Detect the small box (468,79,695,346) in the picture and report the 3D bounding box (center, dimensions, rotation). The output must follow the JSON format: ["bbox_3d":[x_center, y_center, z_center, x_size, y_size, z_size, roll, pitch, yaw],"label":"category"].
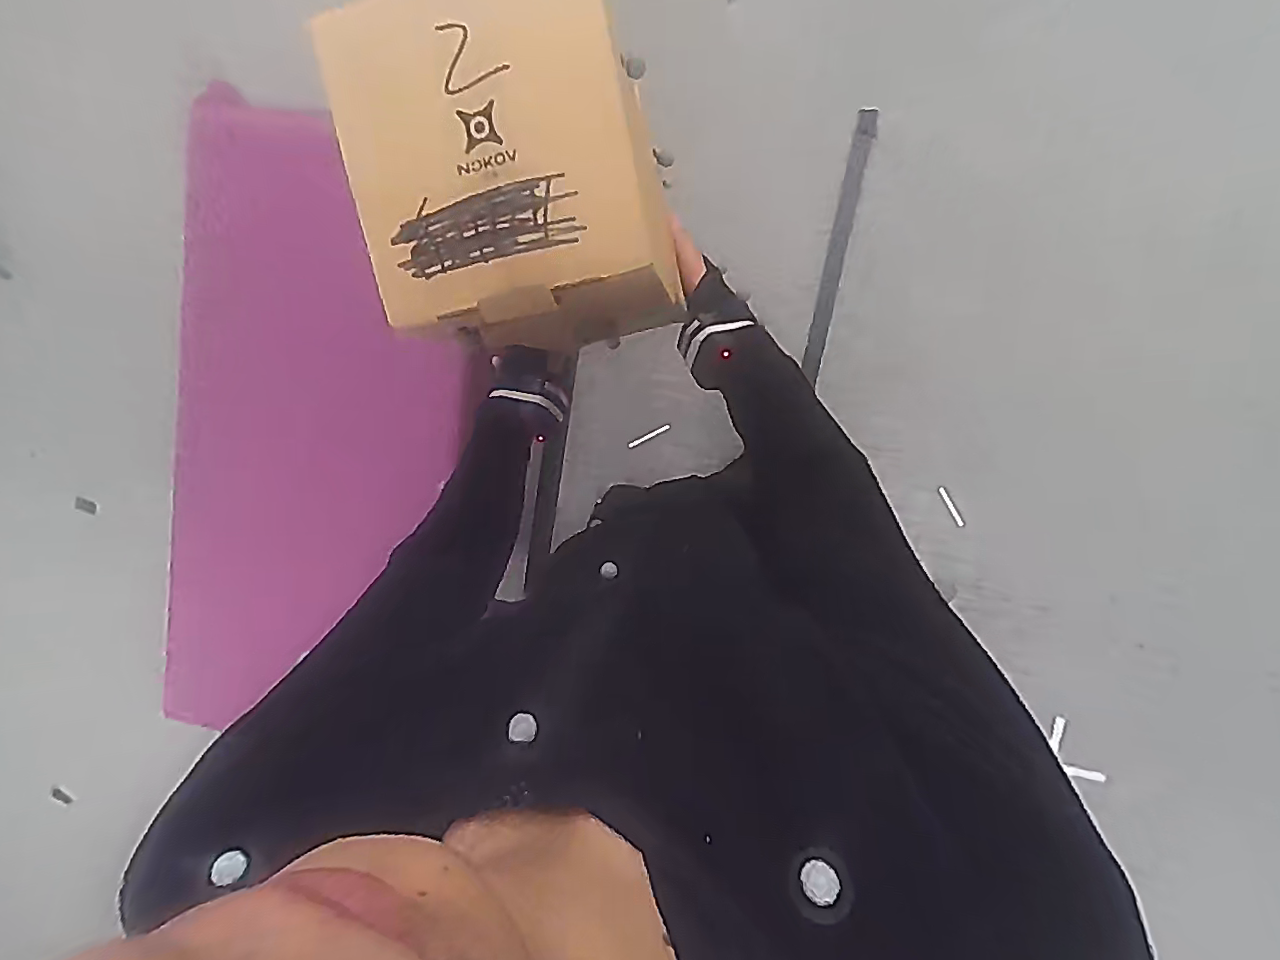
[{"bbox_3d":[-0.041,-0.239,0.534,0.168,0.176,0.179,-10,99,10],"label":"small box"}]
